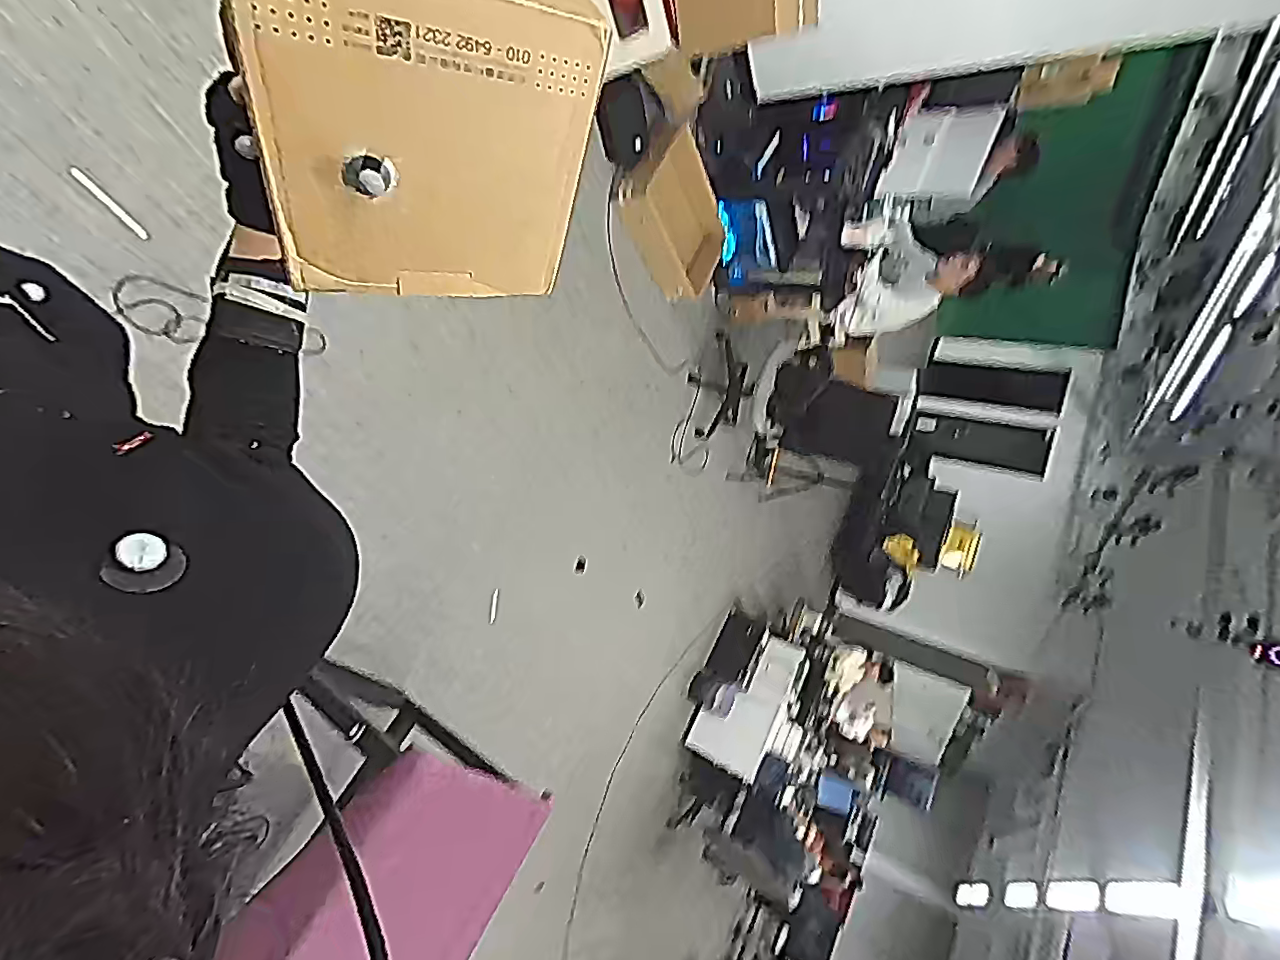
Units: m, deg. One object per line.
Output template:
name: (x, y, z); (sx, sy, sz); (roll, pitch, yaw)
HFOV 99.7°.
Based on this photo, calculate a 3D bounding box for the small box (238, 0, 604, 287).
small box: (-0.136, -0.241, 0.324); (0.168, 0.179, 0.176); (-9, 149, -30)
